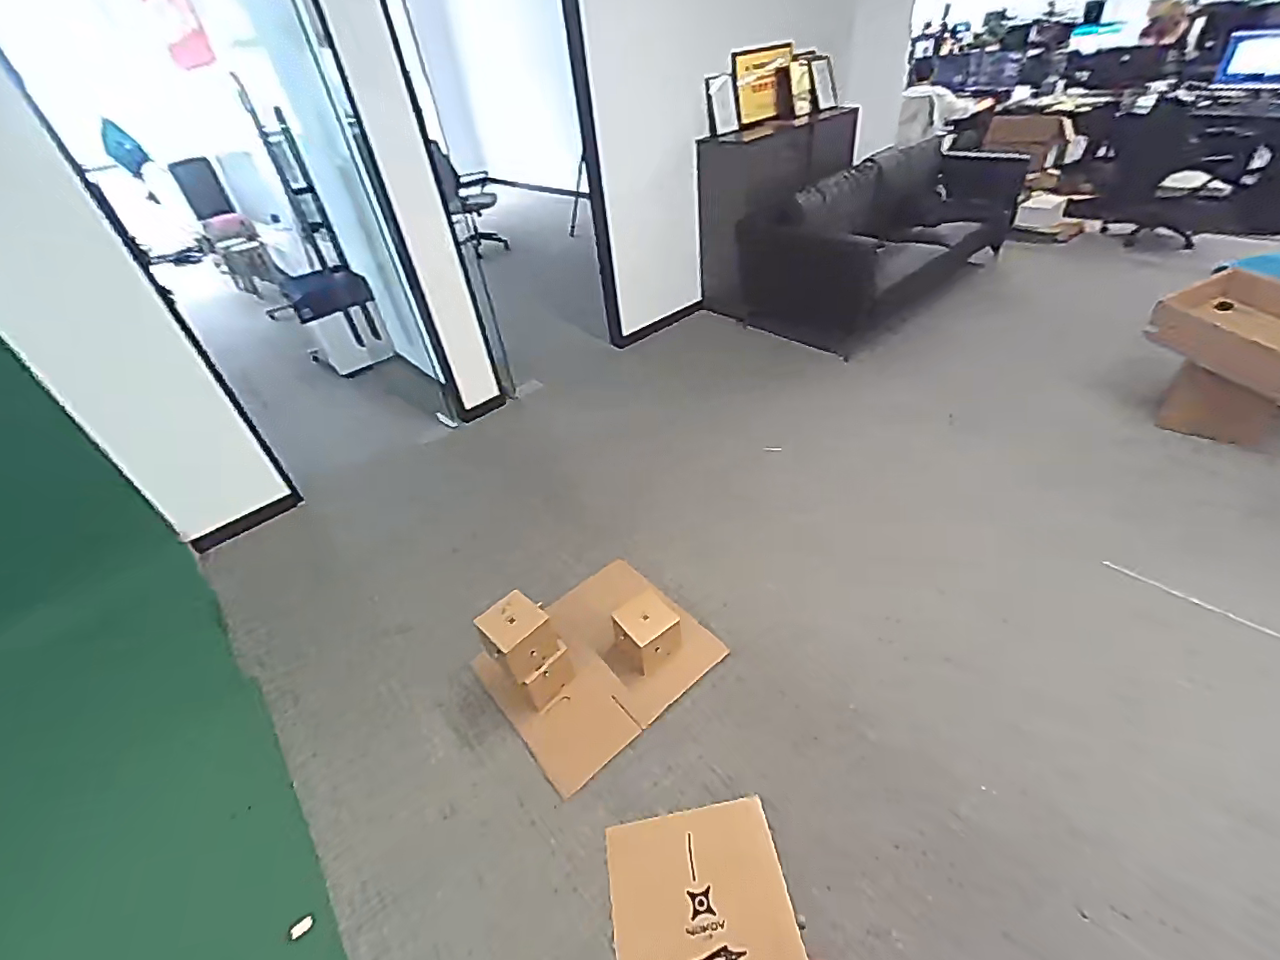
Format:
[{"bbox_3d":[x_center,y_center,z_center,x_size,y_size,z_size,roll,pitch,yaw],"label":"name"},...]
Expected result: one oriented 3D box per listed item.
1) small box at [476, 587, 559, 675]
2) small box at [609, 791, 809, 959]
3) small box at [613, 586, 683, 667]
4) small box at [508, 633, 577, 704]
[{"bbox_3d":[-0.371,0.472,1.670,0.179,0.176,0.168,28,50,36],"label":"small box"},{"bbox_3d":[0.070,0.449,0.540,0.168,0.176,0.179,-11,38,-1],"label":"small box"},{"bbox_3d":[0.032,0.502,1.825,0.168,0.176,0.179,-30,43,-24],"label":"small box"},{"bbox_3d":[-0.330,0.596,1.774,0.179,0.176,0.168,27,50,35],"label":"small box"}]
